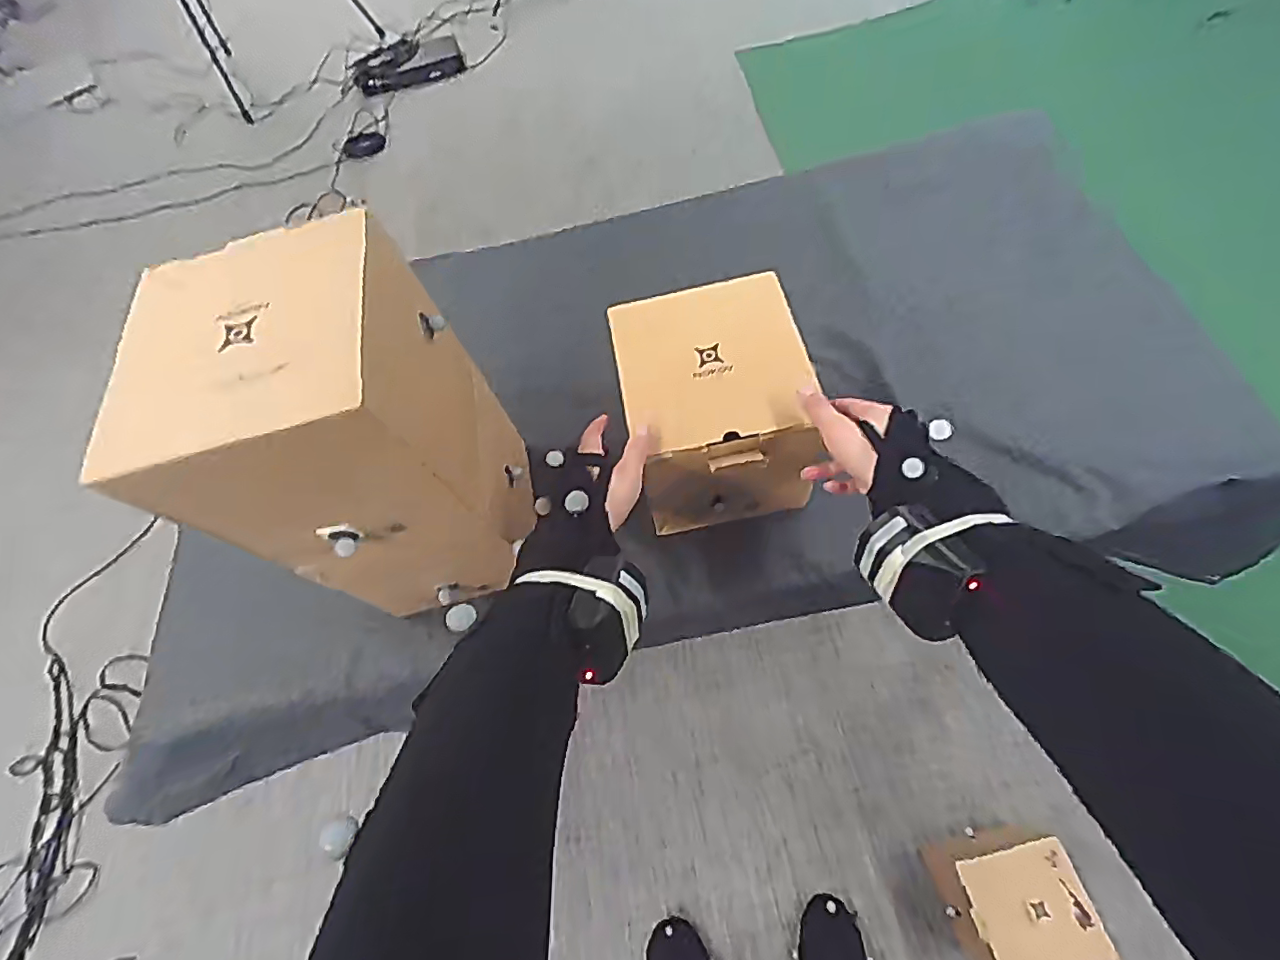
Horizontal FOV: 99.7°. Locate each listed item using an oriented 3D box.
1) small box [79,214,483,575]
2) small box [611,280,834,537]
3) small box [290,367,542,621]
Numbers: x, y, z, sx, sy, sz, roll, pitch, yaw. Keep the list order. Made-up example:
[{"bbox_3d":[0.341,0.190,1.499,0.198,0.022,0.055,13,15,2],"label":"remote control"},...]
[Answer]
[{"bbox_3d":[-0.230,-0.051,0.398,0.168,0.176,0.179,-16,63,2],"label":"small box"},{"bbox_3d":[0.073,-0.064,0.545,0.168,0.176,0.179,-12,62,2],"label":"small box"},{"bbox_3d":[-0.208,0.022,0.541,0.168,0.176,0.179,-15,62,1],"label":"small box"}]
